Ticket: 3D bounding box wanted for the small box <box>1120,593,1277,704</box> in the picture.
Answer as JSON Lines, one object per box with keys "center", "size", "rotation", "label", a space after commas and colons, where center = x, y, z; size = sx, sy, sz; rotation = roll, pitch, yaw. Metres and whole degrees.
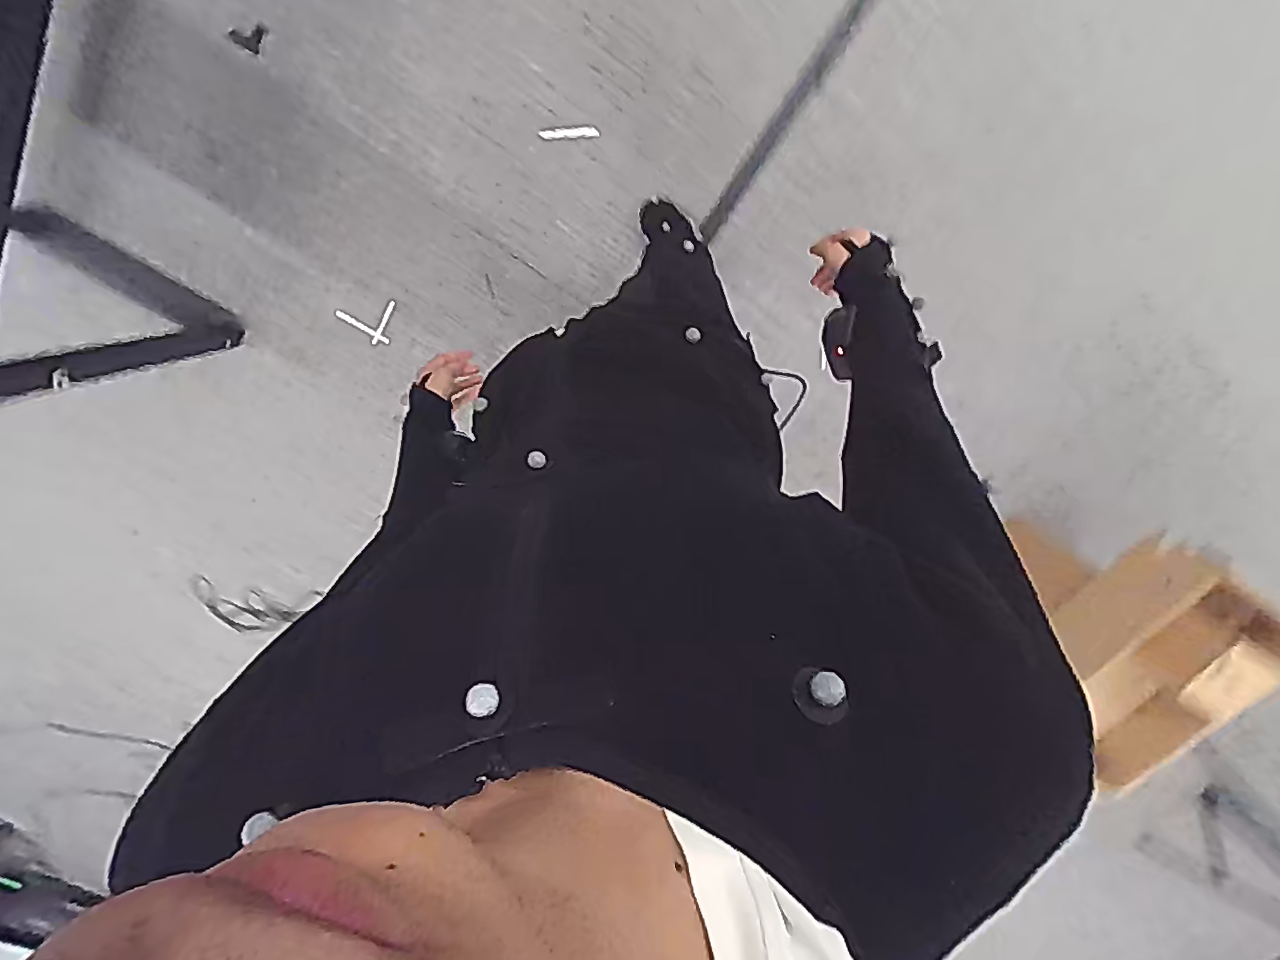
{"center": [1.373, 0.410, 1.341], "size": [0.179, 0.176, 0.168], "rotation": [28, 109, -13], "label": "small box"}
